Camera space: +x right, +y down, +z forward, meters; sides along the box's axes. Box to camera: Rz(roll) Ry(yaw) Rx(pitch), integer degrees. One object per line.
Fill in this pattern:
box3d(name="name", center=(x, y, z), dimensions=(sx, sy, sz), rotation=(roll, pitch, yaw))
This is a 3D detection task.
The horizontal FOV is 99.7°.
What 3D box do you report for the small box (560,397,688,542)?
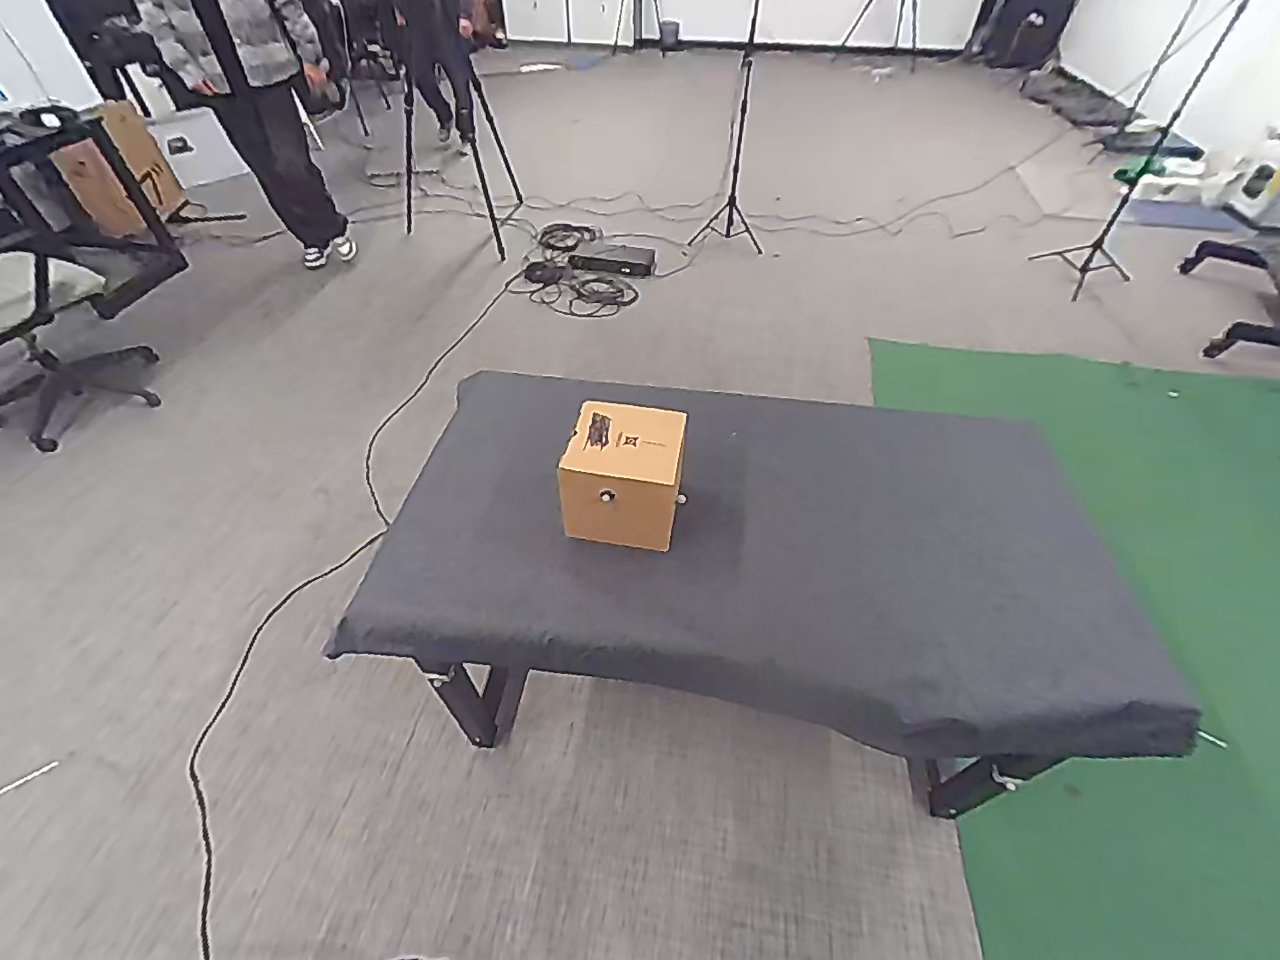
box3d(name="small box", center=(-0.022, -0.014, 0.904), dimensions=(0.179, 0.176, 0.168), rotation=(8, 48, 6))
